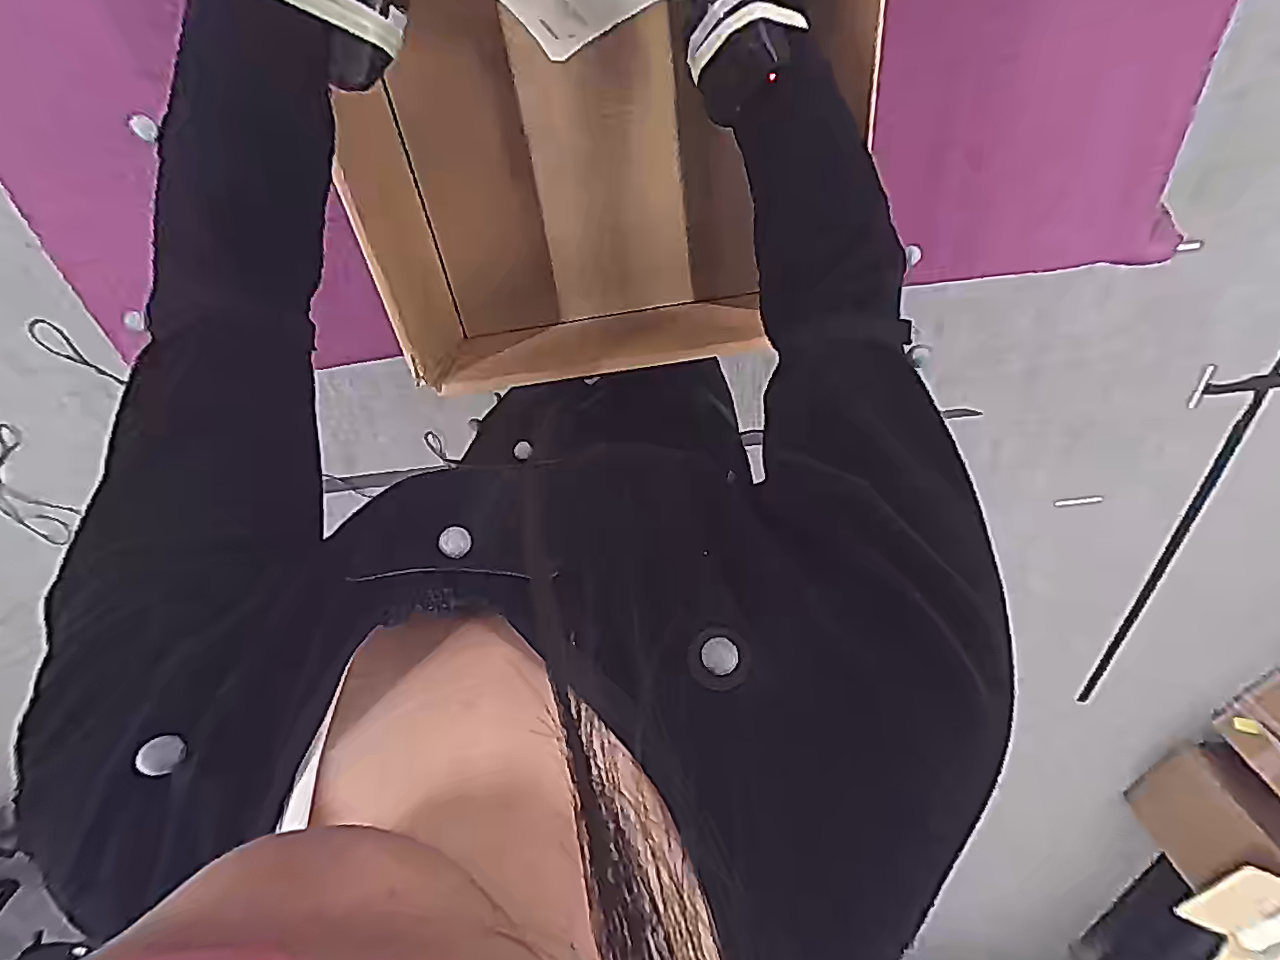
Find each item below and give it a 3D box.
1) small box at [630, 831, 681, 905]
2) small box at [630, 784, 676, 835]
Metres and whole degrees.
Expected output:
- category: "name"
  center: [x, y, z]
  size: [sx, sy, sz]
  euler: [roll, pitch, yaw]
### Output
- category: "small box"
  center: [0.054, 1.385, 1.940]
  size: [0.168, 0.176, 0.179]
  euler: [-5, 123, 1]
- category: "small box"
  center: [0.047, 1.285, 2.070]
  size: [0.168, 0.176, 0.179]
  euler: [-2, 124, -1]
